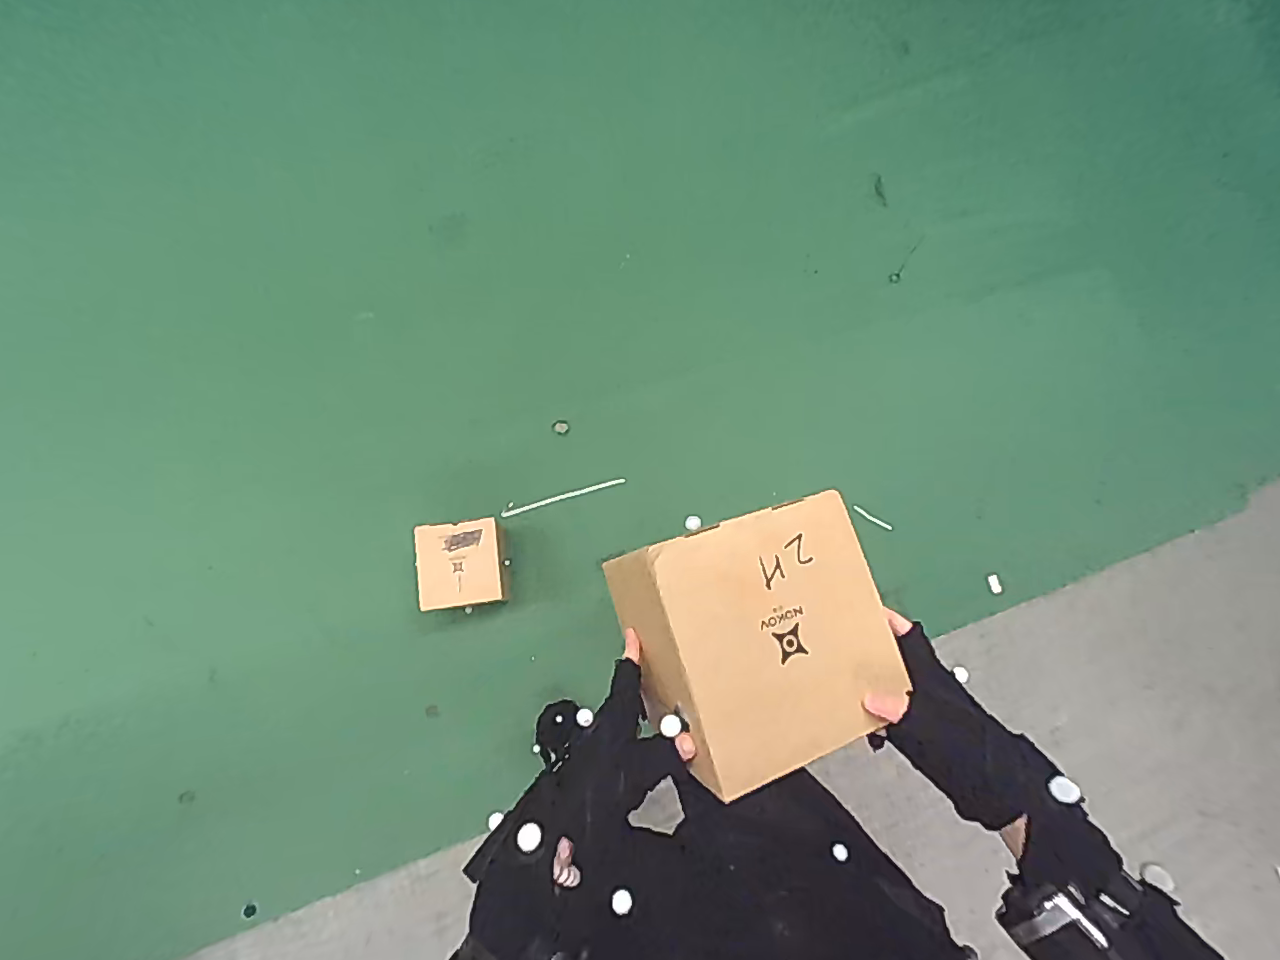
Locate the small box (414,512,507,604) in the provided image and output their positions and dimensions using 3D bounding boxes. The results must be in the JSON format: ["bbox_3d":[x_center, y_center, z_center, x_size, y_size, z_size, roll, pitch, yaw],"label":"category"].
[{"bbox_3d":[-0.390,0.176,1.191,0.168,0.176,0.179,-6,80,-9],"label":"small box"}]

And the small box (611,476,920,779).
[{"bbox_3d":[0.087,0.112,0.459,0.168,0.176,0.179,-13,80,-19],"label":"small box"}]
